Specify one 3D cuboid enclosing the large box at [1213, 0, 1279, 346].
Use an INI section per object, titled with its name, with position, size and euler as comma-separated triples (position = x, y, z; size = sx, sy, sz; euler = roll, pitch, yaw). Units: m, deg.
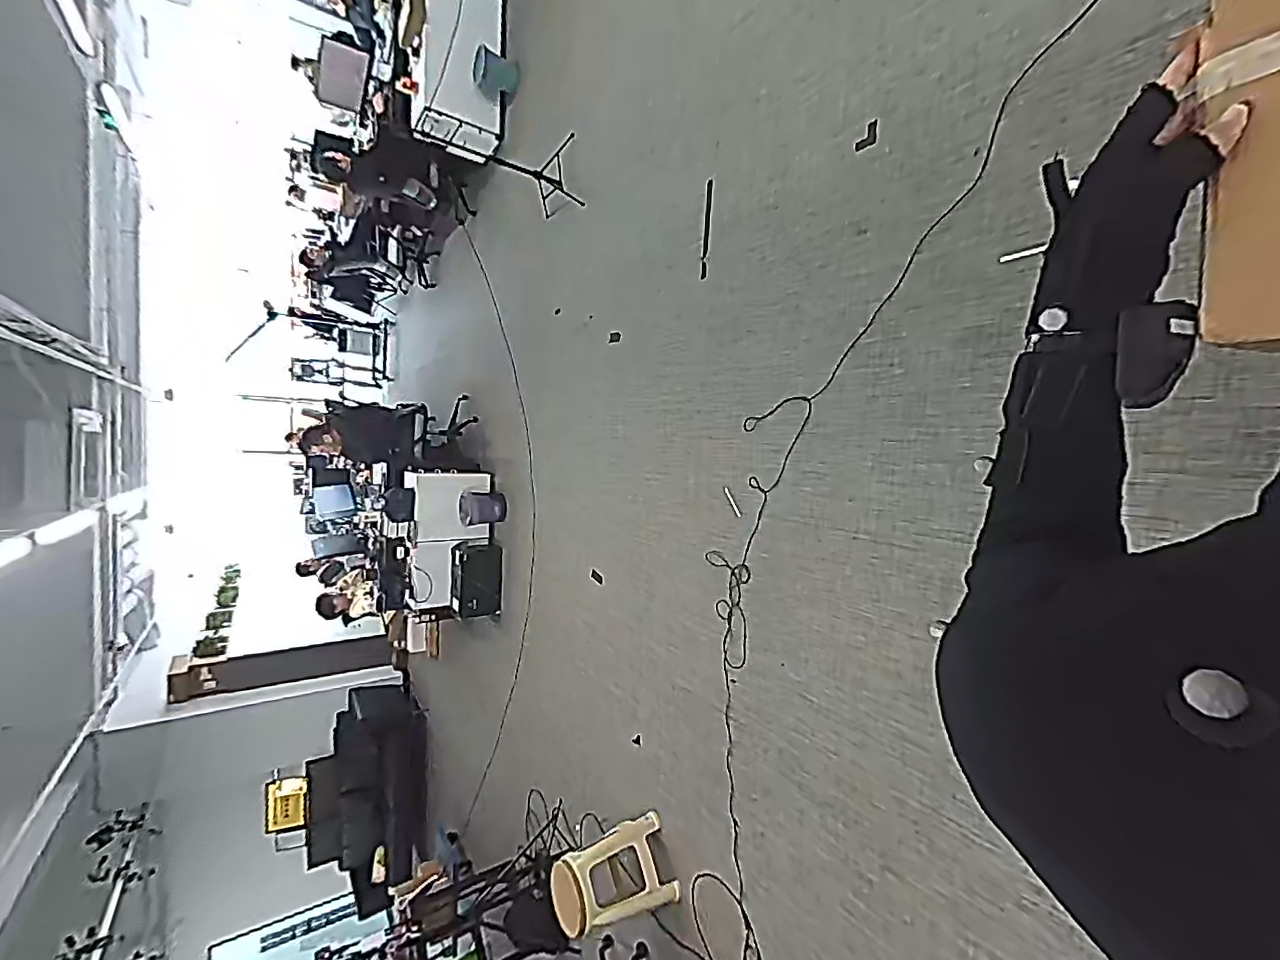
[large box]
position = 0.580, -0.252, 0.253
size = 0.408, 0.320, 0.320
euler = 4, 102, 53
